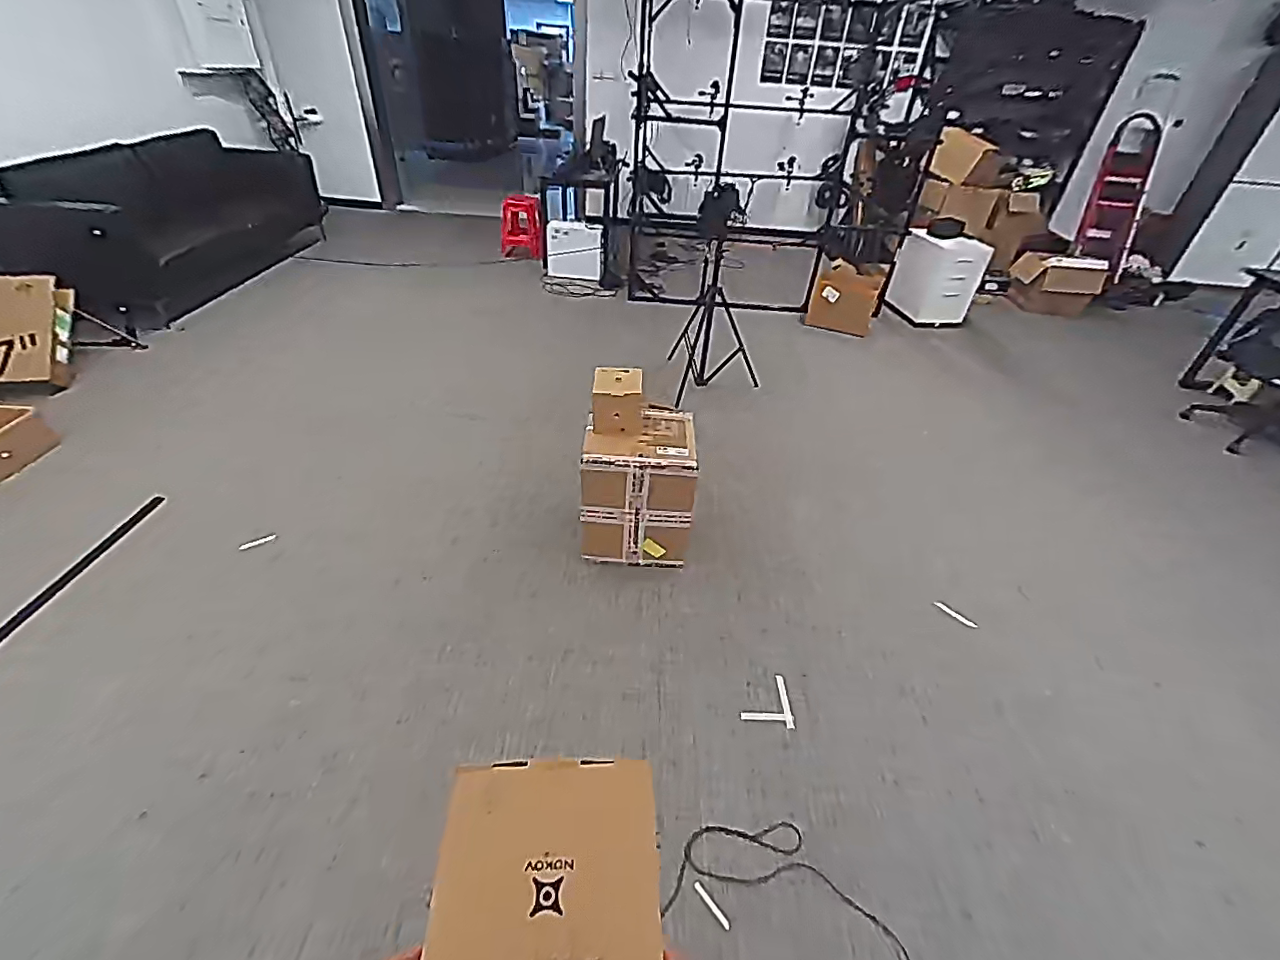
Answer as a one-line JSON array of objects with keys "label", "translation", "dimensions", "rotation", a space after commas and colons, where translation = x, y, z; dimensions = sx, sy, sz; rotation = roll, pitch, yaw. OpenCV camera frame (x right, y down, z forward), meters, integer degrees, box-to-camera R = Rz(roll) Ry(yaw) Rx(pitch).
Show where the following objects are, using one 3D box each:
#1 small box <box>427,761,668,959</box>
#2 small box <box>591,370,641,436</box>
[{"label": "small box", "translation": [-0.070, 0.356, 0.449], "dimensions": [0.168, 0.176, 0.179], "rotation": [1, 44, -5]}, {"label": "small box", "translation": [-0.082, -0.268, 1.900], "dimensions": [0.168, 0.176, 0.179], "rotation": [2, 41, -1]}]
